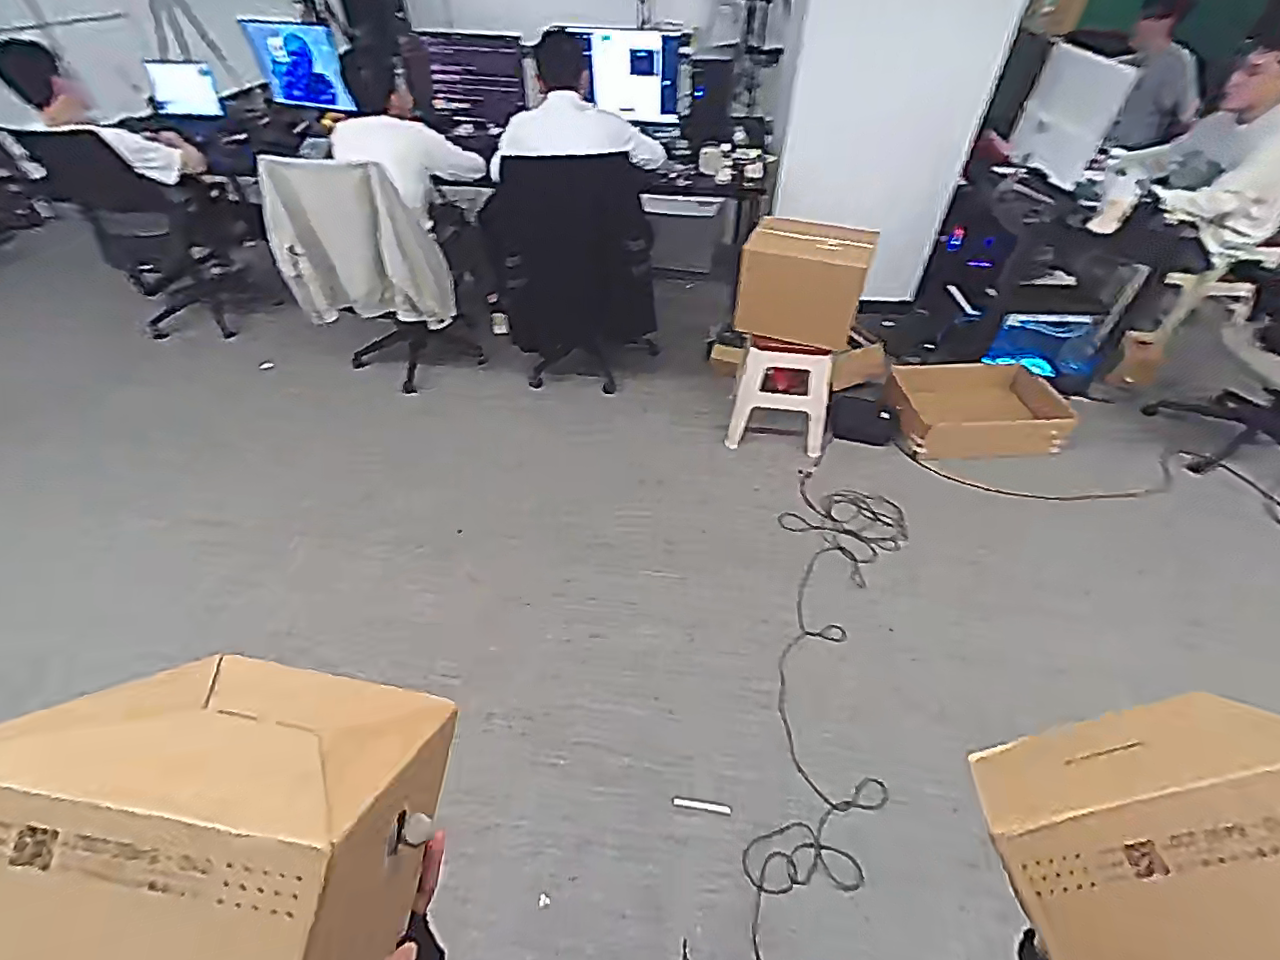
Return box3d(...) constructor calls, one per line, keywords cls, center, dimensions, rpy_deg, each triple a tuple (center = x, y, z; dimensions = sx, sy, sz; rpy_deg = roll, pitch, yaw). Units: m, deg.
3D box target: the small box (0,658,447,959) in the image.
box3d(cls="small box", center=(-0.214, 0.198, 0.267), dimensions=(0.168, 0.179, 0.176), rpy_deg=(13, 83, -3))
